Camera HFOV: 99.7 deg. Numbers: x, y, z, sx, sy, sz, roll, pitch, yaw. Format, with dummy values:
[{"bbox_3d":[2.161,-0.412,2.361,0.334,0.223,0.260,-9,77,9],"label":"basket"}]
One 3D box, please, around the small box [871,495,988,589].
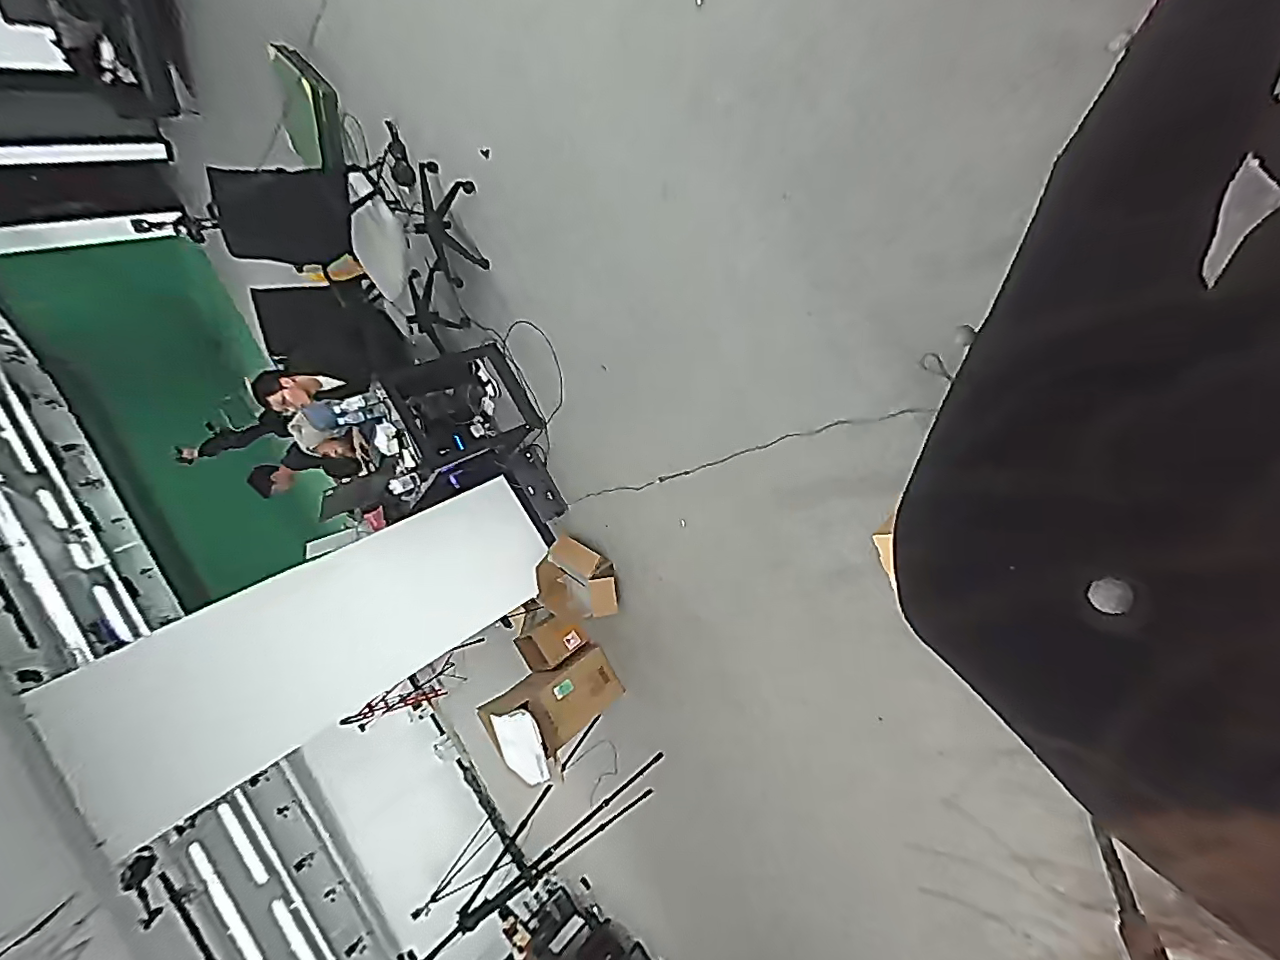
[{"bbox_3d":[0.712,0.152,1.329,0.179,0.176,0.168,-15,103,54],"label":"small box"}]
